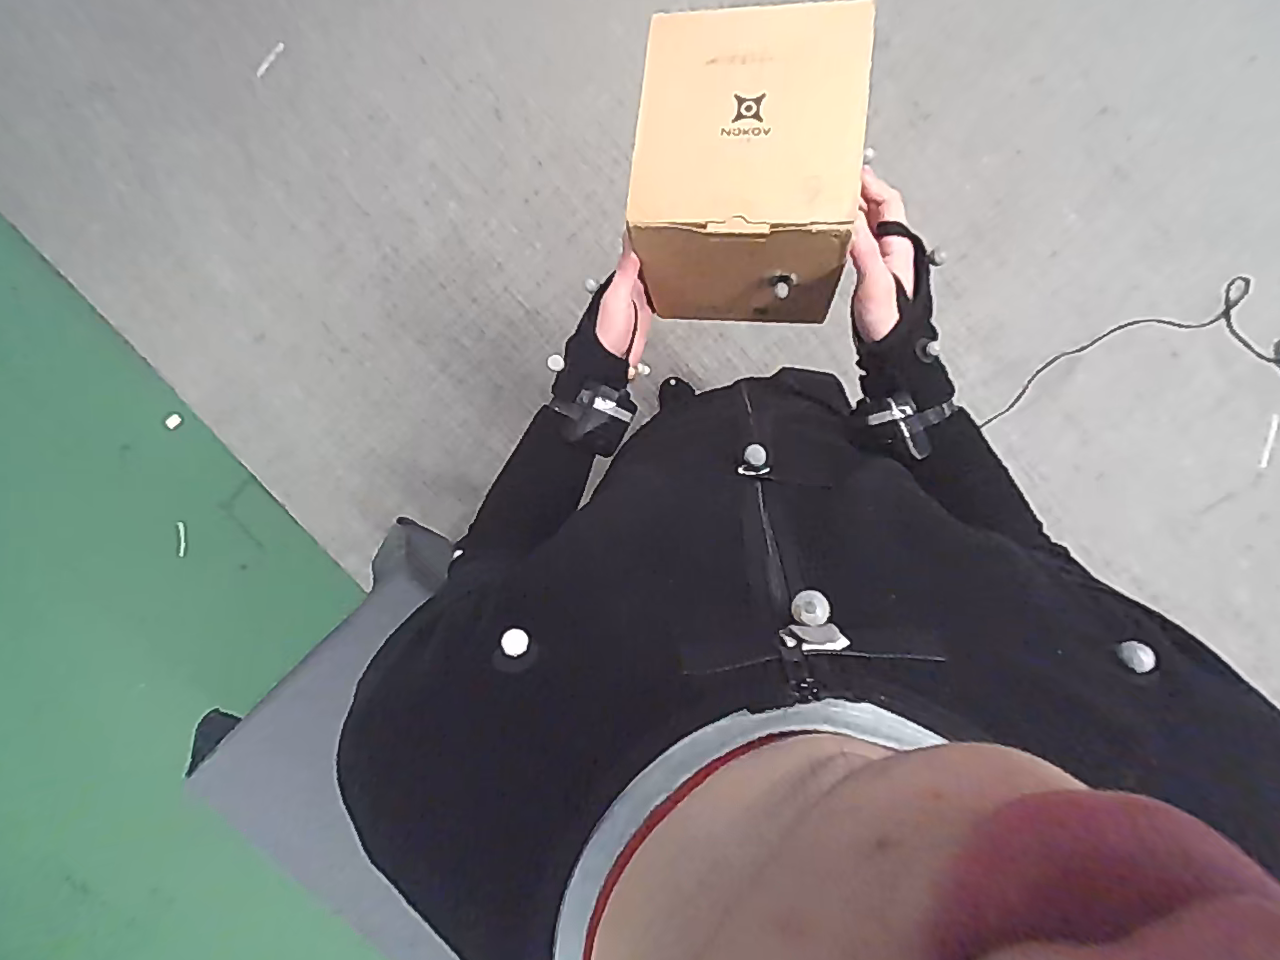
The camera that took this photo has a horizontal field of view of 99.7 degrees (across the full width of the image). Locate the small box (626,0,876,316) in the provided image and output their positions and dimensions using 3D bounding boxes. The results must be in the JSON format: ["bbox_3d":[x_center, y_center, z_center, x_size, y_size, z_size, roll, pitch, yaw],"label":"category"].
[{"bbox_3d":[0.092,-0.257,0.468,0.168,0.176,0.179,5,83,10],"label":"small box"}]
